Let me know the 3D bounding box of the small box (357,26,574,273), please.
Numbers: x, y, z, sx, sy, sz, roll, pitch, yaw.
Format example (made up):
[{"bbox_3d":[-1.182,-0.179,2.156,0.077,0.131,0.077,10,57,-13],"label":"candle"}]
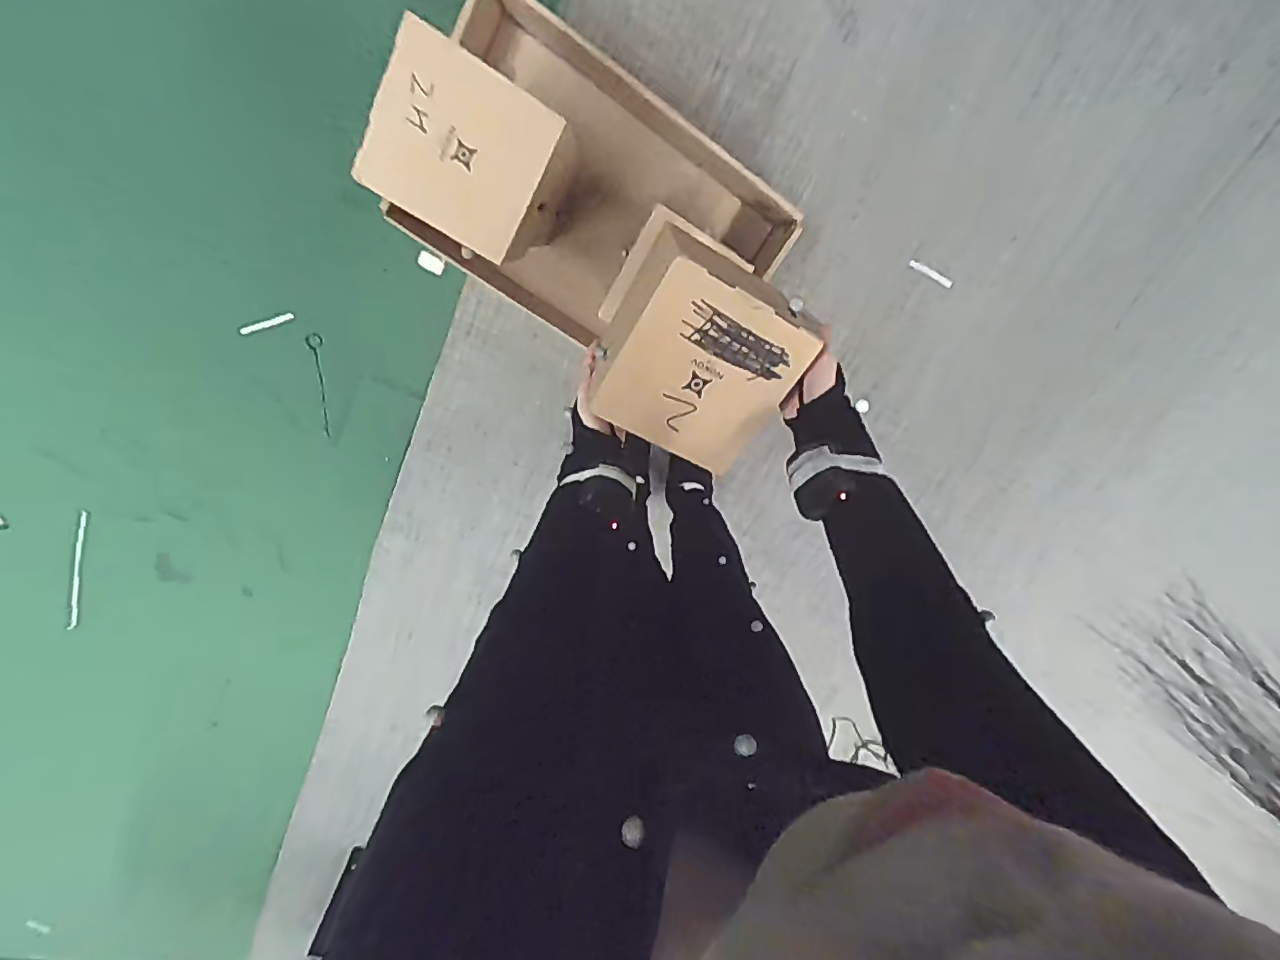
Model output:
[{"bbox_3d":[-0.191,-0.373,0.644,0.179,0.176,0.168,29,109,-14],"label":"small box"}]

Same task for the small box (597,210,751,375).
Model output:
[{"bbox_3d":[0.048,-0.295,0.860,0.168,0.176,0.179,29,108,-13],"label":"small box"}]
